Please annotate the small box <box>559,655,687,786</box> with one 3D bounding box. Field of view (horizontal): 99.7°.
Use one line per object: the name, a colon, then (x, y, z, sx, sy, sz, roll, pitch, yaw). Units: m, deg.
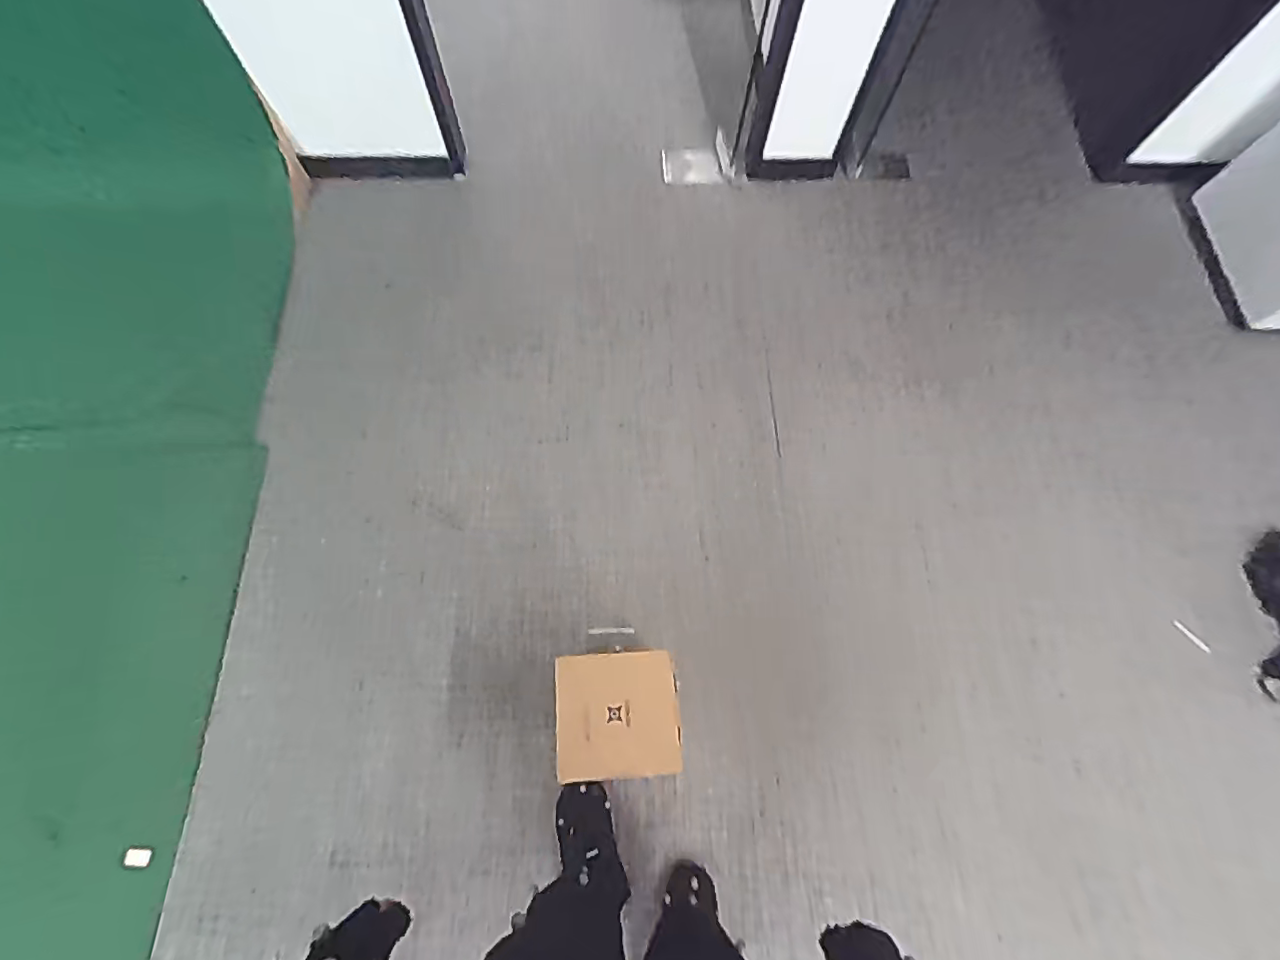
small box: (-0.029, 0.366, 0.843, 0.179, 0.176, 0.168, -4, 68, -2)
